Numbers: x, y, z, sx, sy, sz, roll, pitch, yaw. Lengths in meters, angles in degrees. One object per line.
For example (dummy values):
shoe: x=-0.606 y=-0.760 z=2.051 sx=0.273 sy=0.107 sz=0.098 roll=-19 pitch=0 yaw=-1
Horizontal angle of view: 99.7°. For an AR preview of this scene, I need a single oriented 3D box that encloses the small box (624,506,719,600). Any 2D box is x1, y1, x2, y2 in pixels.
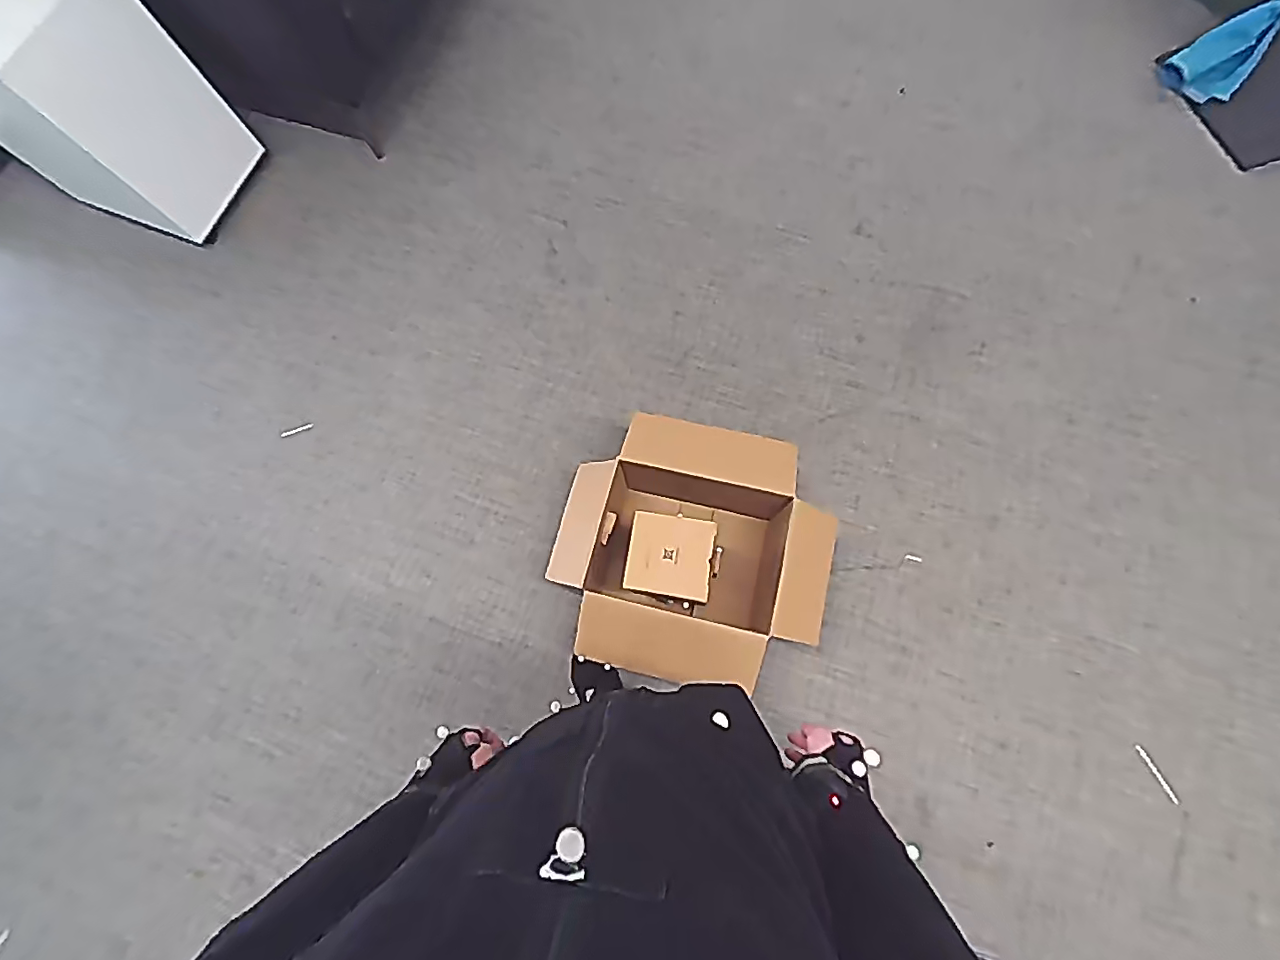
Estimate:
small box: x=0.075 y=0.167 z=1.188 sx=0.179 sy=0.176 sz=0.168 roll=8 pitch=74 yaw=11
